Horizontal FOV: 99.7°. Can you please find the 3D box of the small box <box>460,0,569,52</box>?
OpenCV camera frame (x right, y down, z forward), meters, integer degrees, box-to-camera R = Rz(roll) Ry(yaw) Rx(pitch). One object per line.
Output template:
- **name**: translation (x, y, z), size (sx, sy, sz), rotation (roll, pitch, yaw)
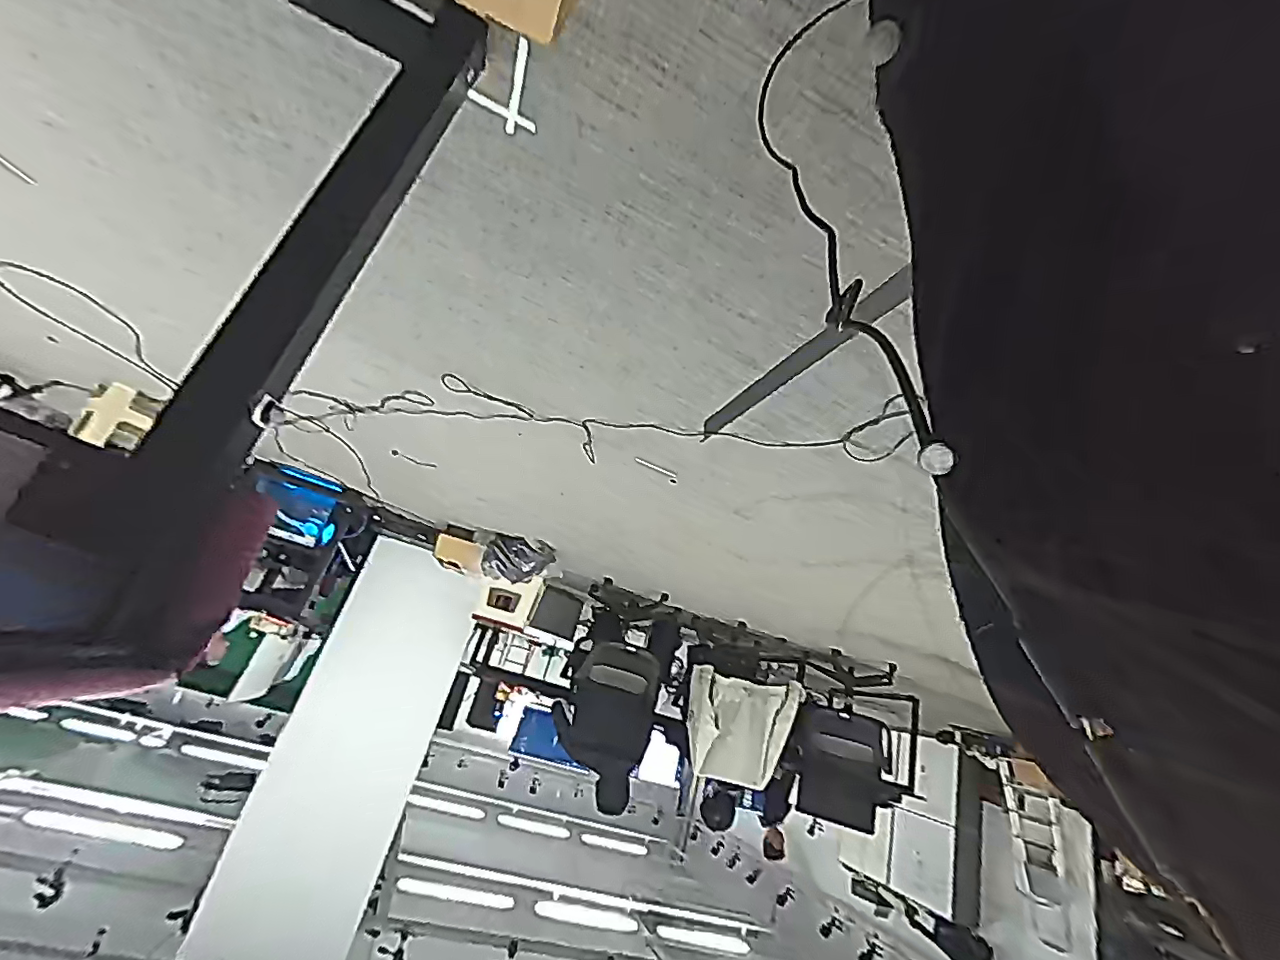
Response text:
- **small box**: translation (-0.103, -0.507, 0.419), size (0.168, 0.176, 0.179), rotation (22, 157, -17)
